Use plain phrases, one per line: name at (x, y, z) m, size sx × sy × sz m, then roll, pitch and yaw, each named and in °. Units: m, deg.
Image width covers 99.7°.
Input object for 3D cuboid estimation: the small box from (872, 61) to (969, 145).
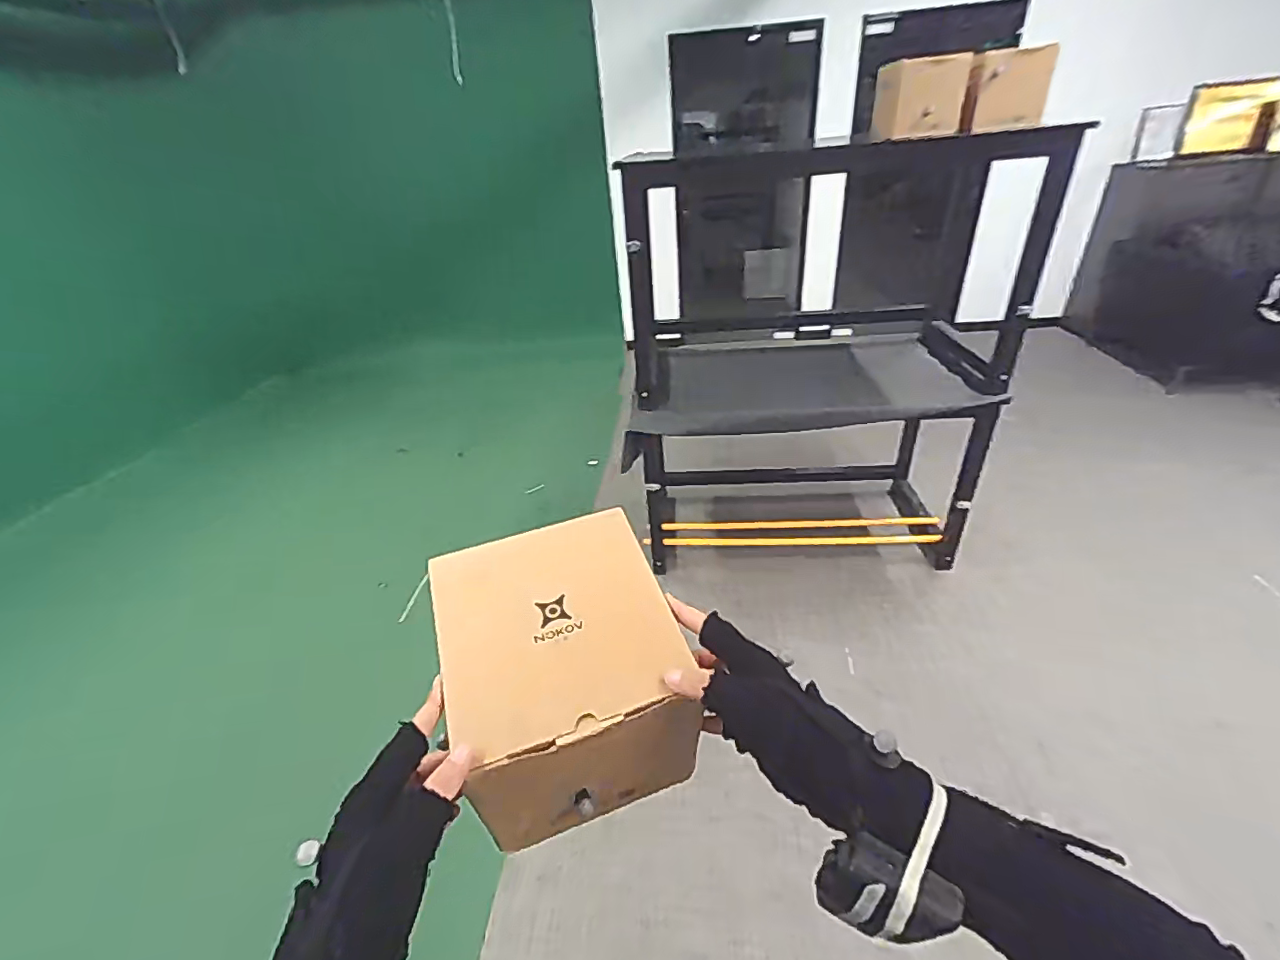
small box at (0.737, -0.999, 1.443) m, size 0.168 × 0.176 × 0.179 m, roll -3°, pitch 32°, yaw 5°
